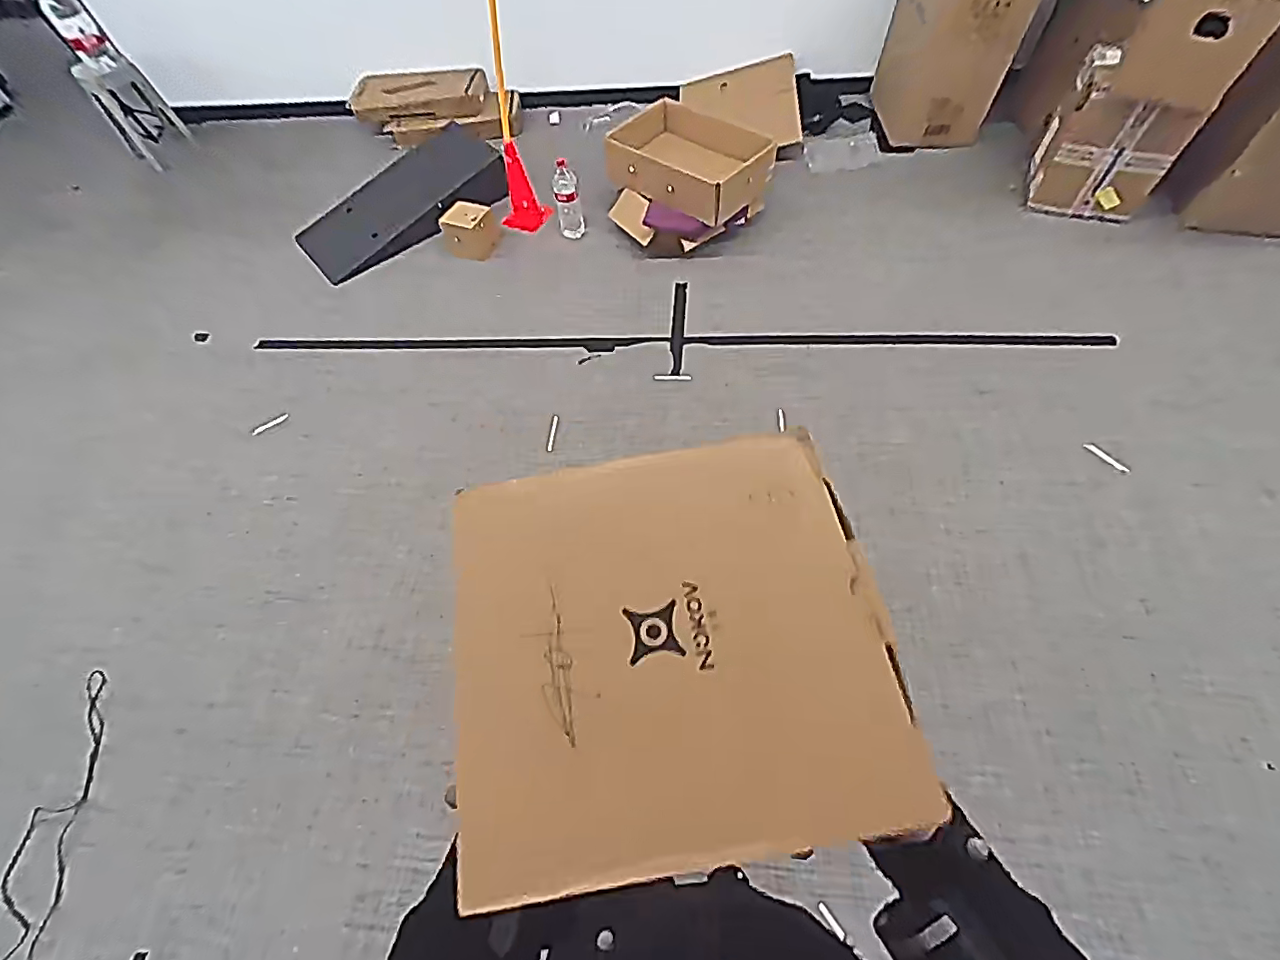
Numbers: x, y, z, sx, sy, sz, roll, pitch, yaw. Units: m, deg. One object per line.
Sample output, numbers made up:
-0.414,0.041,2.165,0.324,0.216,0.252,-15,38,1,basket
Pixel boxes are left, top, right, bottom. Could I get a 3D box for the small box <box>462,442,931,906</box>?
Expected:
0.017,0.103,0.305,0.179,0.176,0.168,-12,63,0,small box
